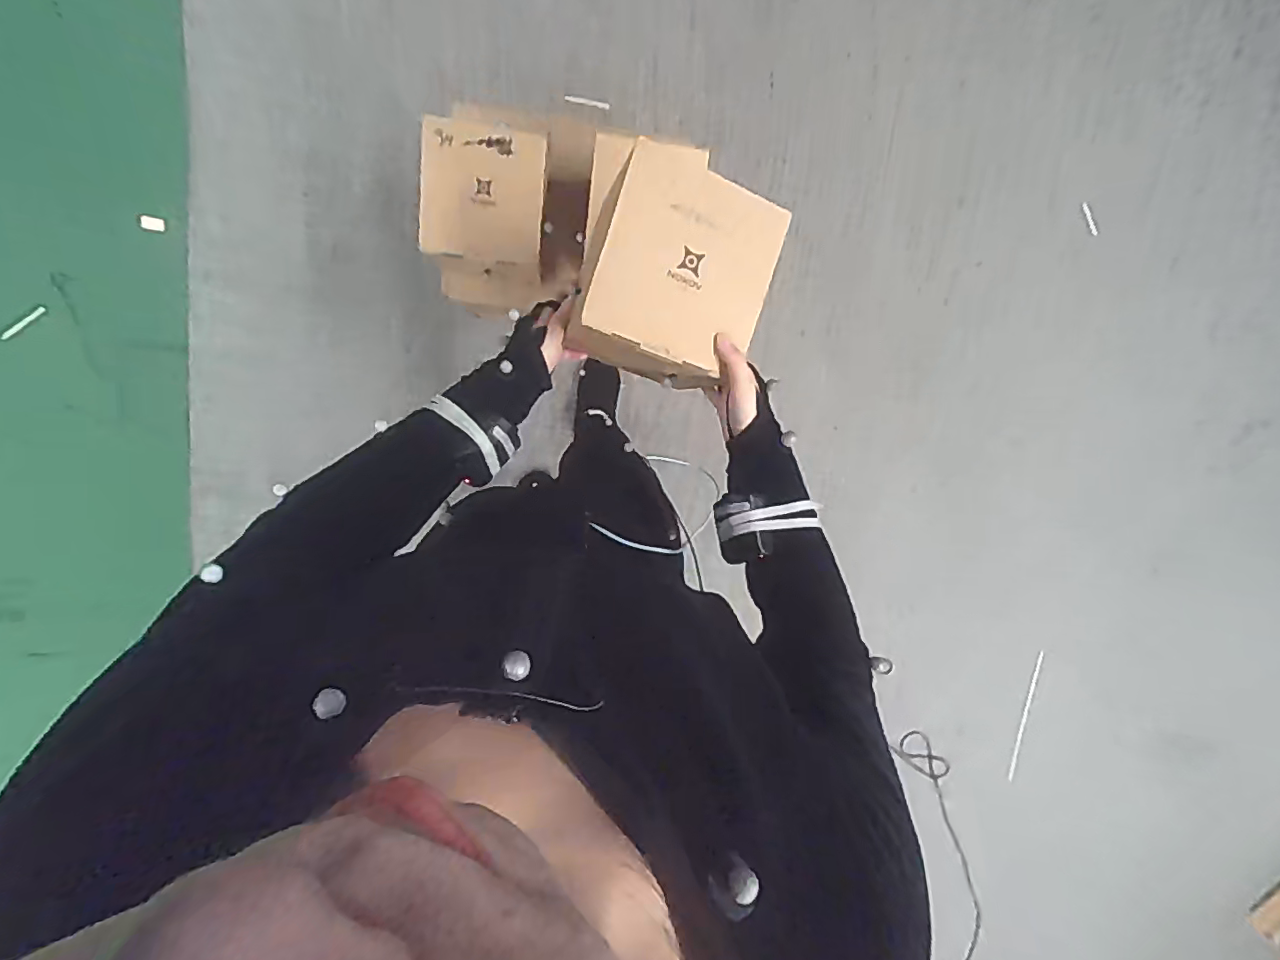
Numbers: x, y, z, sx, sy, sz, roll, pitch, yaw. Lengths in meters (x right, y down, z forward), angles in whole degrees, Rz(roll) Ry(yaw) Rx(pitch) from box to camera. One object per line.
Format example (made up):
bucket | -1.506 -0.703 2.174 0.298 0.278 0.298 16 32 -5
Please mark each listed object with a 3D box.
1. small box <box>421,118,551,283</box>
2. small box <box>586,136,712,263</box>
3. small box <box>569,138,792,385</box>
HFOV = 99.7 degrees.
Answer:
small box | -0.226 -0.409 0.826 0.168 0.176 0.179 5 102 -10
small box | 0.005 -0.403 0.855 0.168 0.176 0.179 5 101 -7
small box | 0.028 -0.210 0.583 0.168 0.176 0.179 18 92 -17
